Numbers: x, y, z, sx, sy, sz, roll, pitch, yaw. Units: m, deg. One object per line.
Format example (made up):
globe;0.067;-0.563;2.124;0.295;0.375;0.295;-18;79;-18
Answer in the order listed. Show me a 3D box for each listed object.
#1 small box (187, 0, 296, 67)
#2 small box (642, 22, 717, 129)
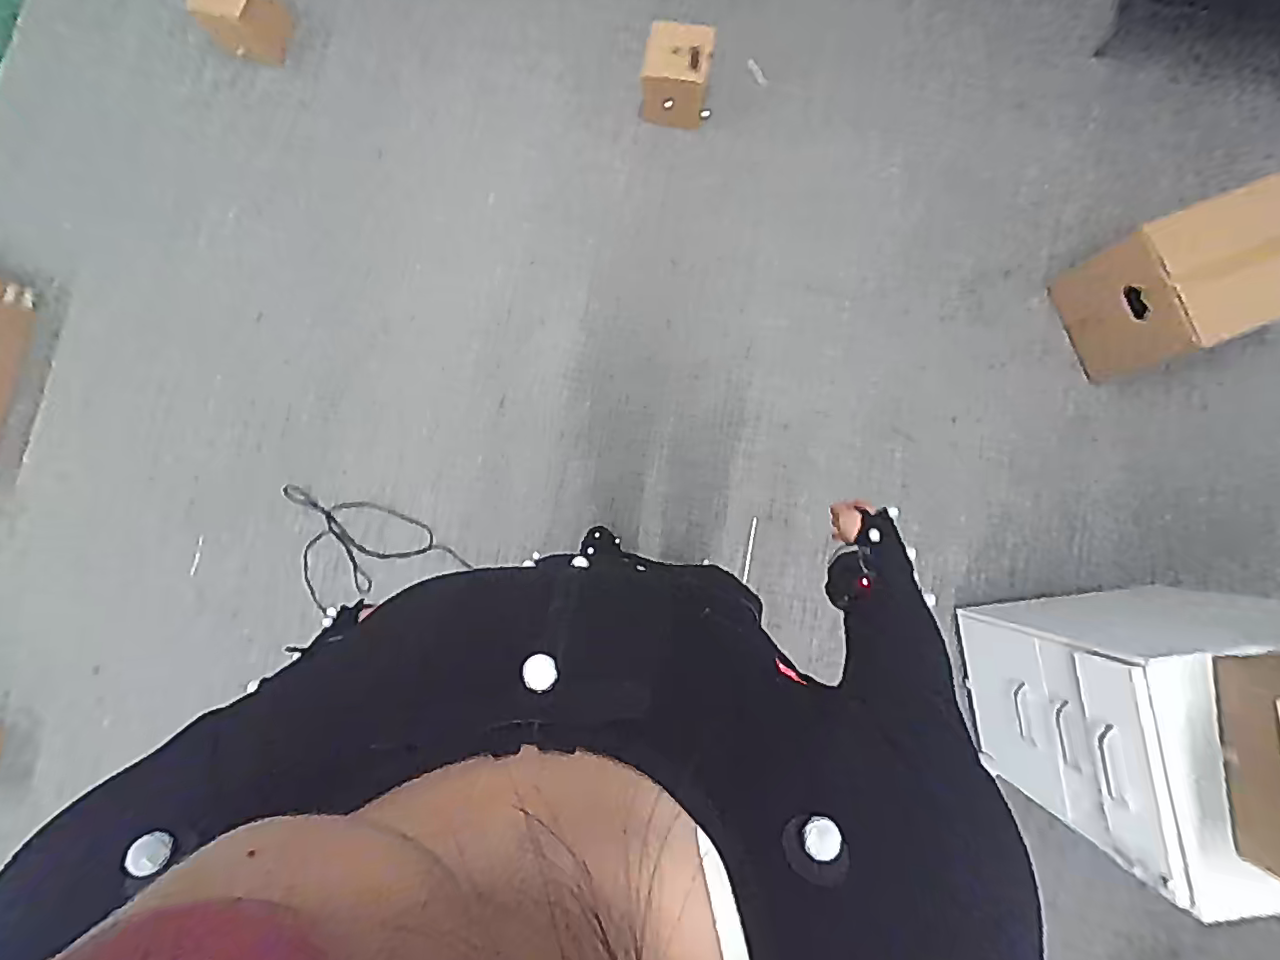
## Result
small box;-1.142;-1.358;1.566;0.168;0.176;0.179;16;86;3
small box;0.109;-1.136;1.531;0.179;0.176;0.168;12;86;3
